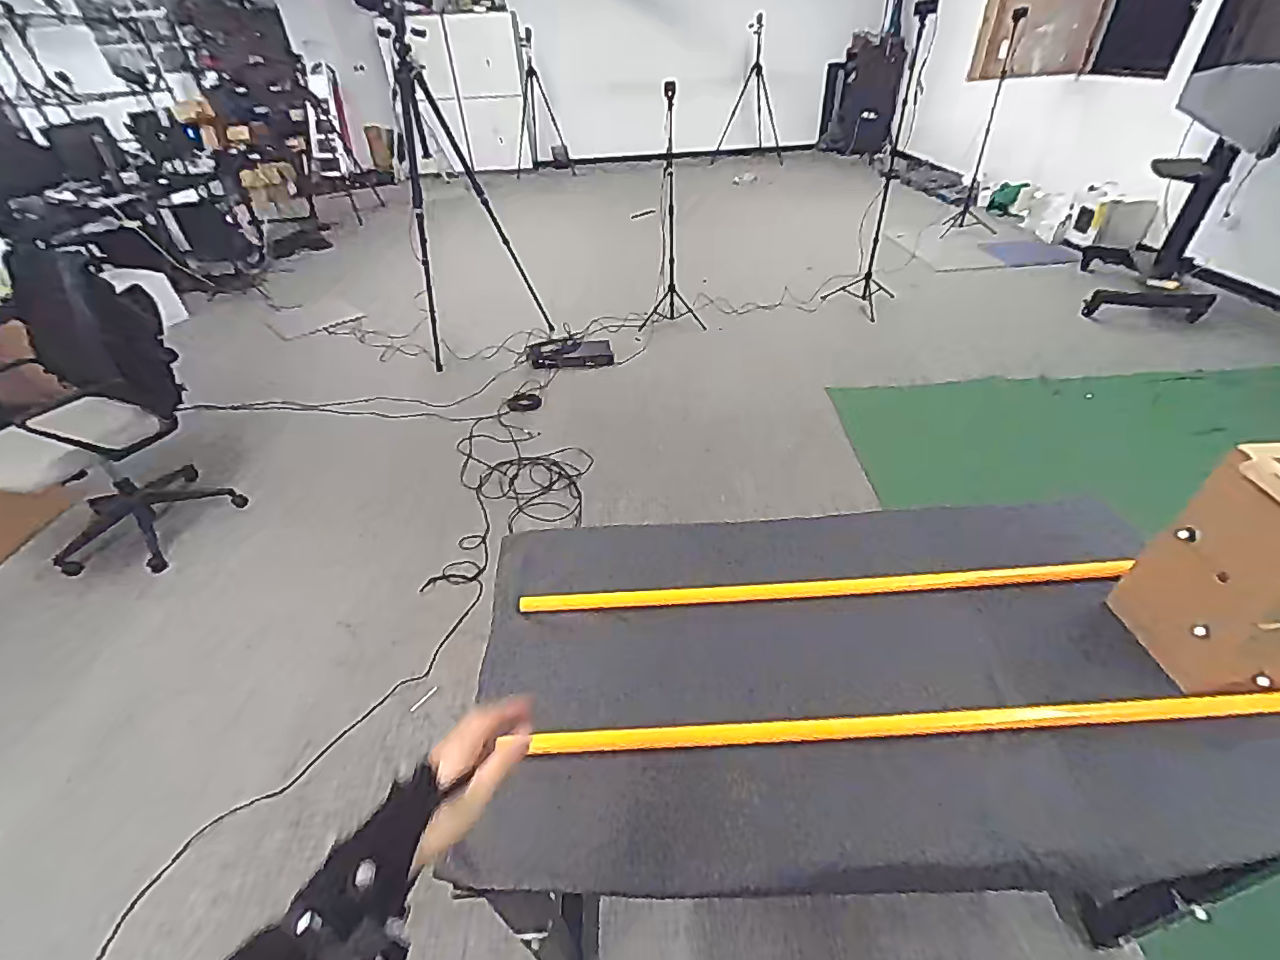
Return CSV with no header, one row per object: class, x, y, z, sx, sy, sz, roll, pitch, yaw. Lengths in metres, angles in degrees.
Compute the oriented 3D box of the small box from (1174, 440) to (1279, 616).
small box,0.863,0.063,0.702,0.179,0.176,0.168,0,40,3
